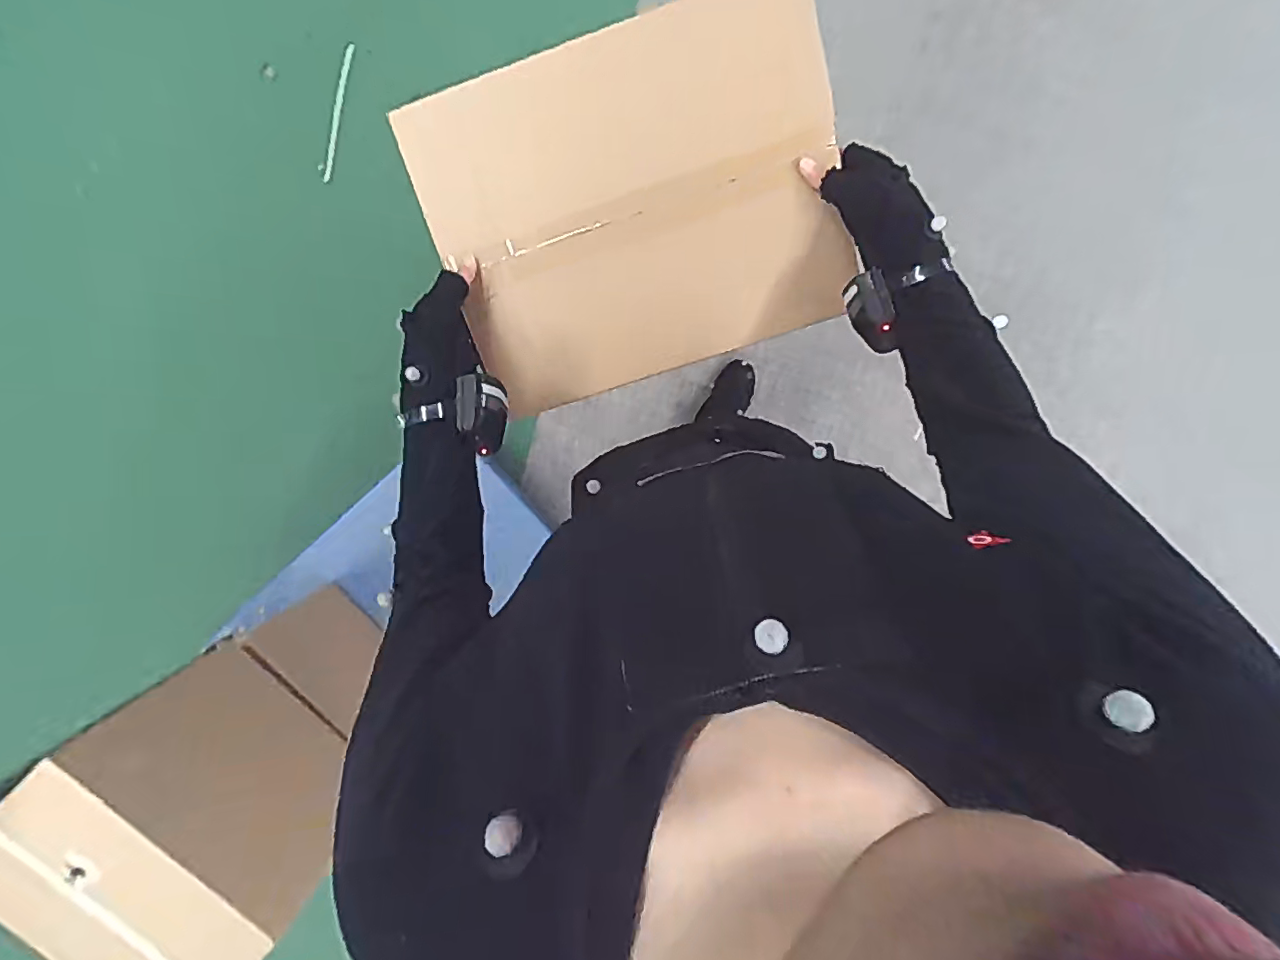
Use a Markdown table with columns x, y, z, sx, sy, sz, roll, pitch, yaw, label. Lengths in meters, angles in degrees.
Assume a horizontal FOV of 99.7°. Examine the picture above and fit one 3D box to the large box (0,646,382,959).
| x | y | z | sx | sy | sz | roll | pitch | yaw | label |
| --- | --- | --- | --- | --- | --- | --- | --- | --- | --- |
| -0.742 | 0.571 | 0.902 | 0.320 | 0.320 | 0.408 | -42 | 96 | 11 | large box |
